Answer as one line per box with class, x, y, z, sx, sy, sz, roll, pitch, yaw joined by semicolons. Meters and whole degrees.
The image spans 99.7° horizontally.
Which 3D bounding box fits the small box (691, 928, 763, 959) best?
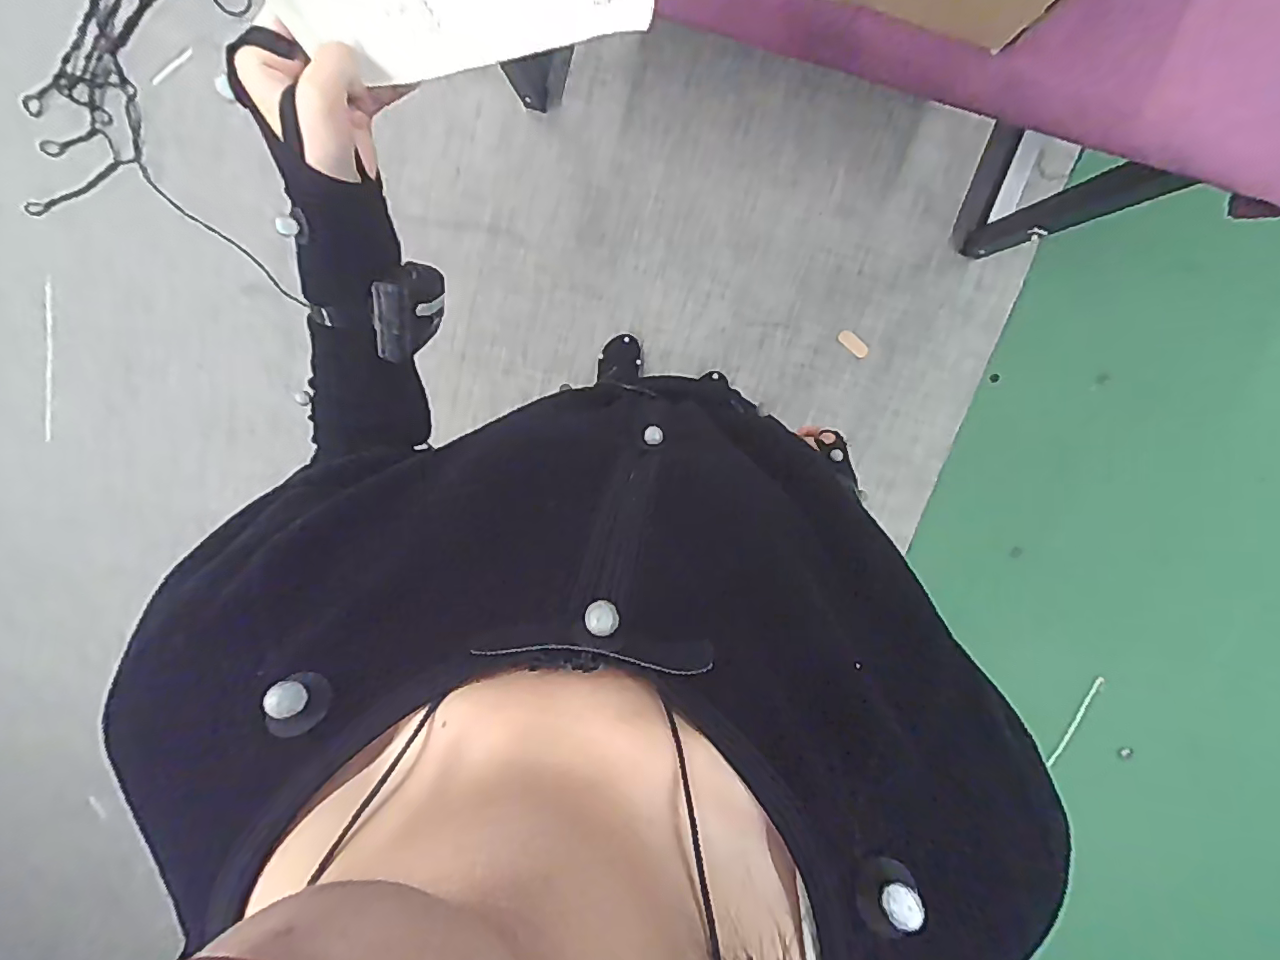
small box;0.222;1.293;1.375;0.179;0.176;0.168;6;101;3
